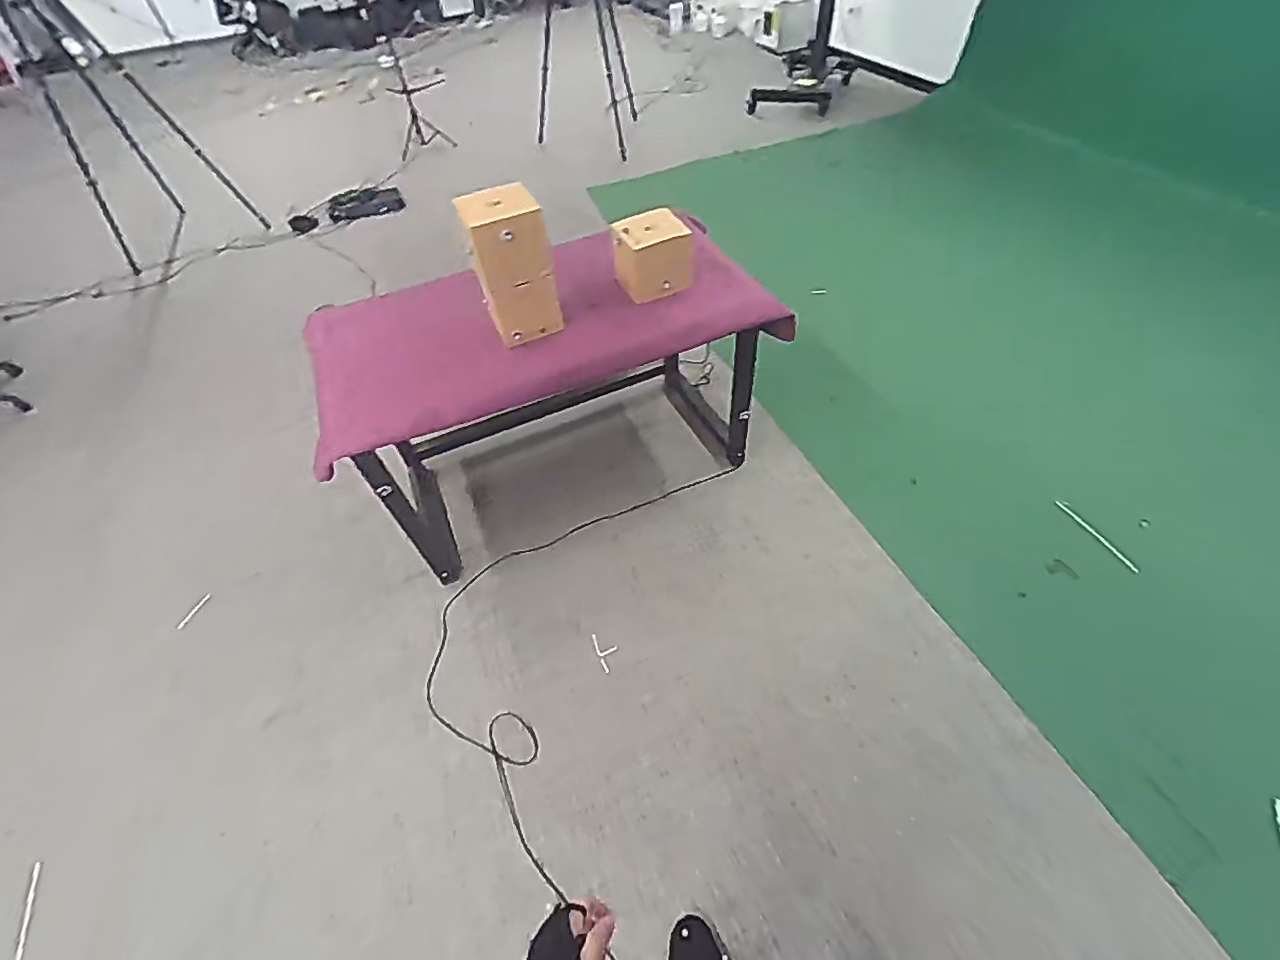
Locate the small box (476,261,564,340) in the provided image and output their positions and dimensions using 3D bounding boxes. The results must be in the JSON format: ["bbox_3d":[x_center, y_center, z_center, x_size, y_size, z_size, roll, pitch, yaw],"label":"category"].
[{"bbox_3d":[-0.315,-0.494,1.443,0.168,0.176,0.179,-22,52,-13],"label":"small box"}]

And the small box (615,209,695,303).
[{"bbox_3d":[0.041,-0.630,1.527,0.179,0.176,0.168,-21,52,-12],"label":"small box"}]

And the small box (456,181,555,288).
[{"bbox_3d":[-0.323,-0.594,1.315,0.179,0.176,0.168,-21,54,-14],"label":"small box"}]
